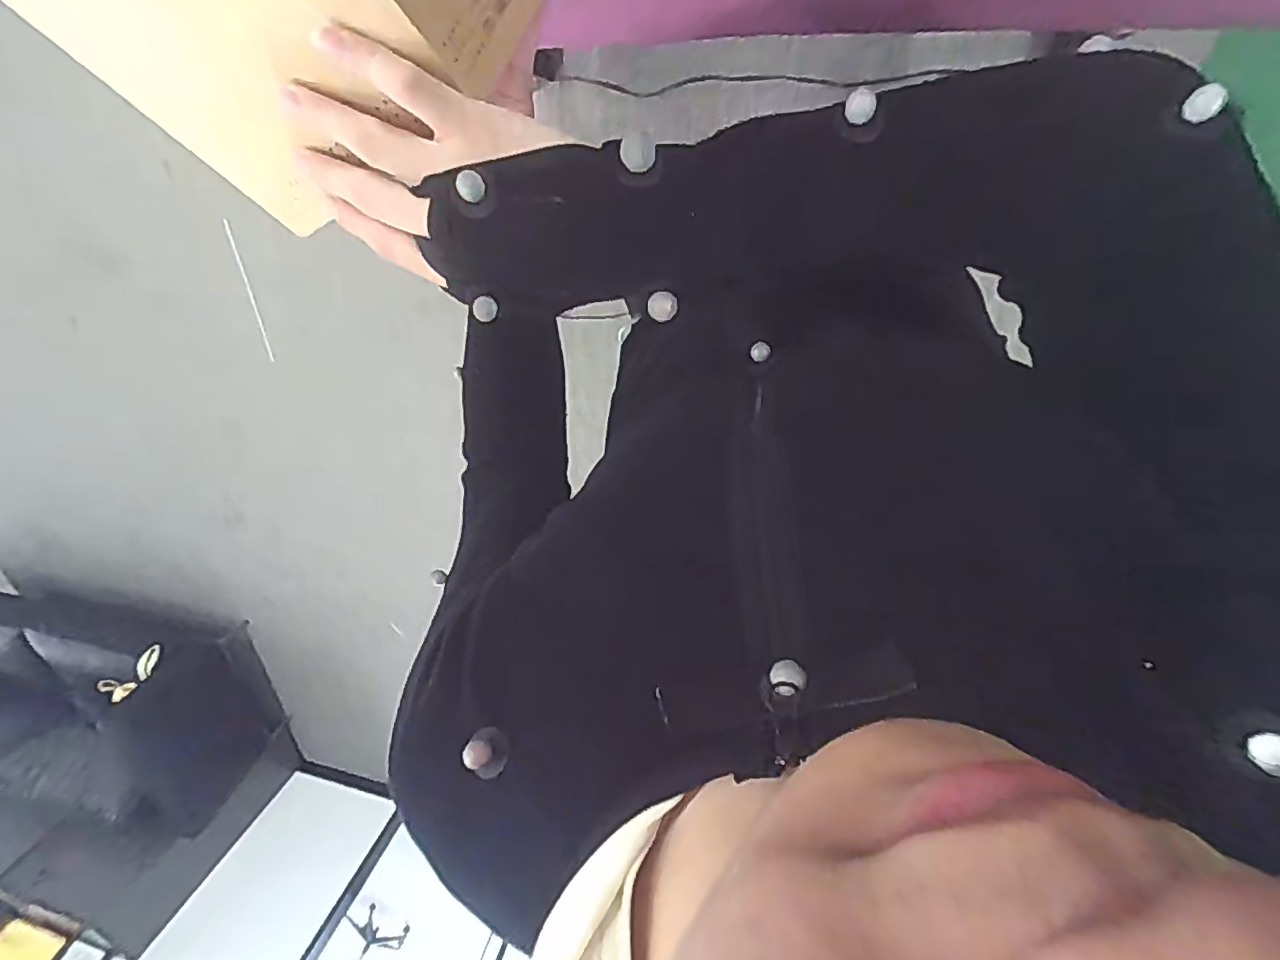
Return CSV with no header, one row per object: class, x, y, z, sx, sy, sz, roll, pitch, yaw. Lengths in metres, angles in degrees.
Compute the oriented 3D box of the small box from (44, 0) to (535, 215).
small box,-0.172,-0.274,0.274,0.179,0.168,0.176,-6,151,33
